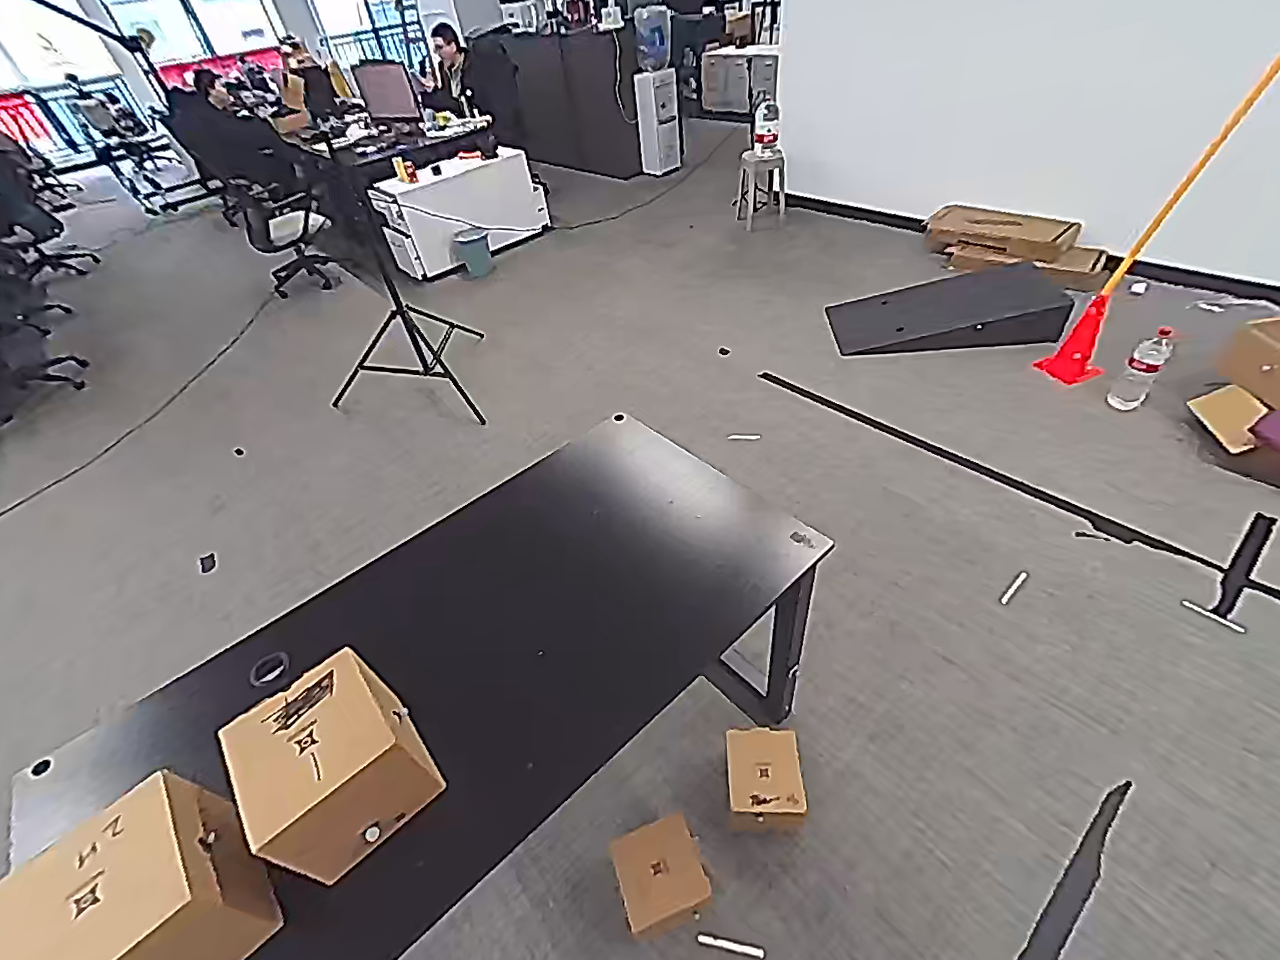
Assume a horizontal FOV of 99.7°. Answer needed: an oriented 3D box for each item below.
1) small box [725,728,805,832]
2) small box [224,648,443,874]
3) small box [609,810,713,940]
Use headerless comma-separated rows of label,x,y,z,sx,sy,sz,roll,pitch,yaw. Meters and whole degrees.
small box,0.289,0.713,1.288,0.168,0.176,0.179,-3,44,6
small box,-0.390,0.365,0.705,0.168,0.176,0.179,-35,50,-24
small box,0.048,0.861,1.179,0.179,0.176,0.168,-19,44,-9
